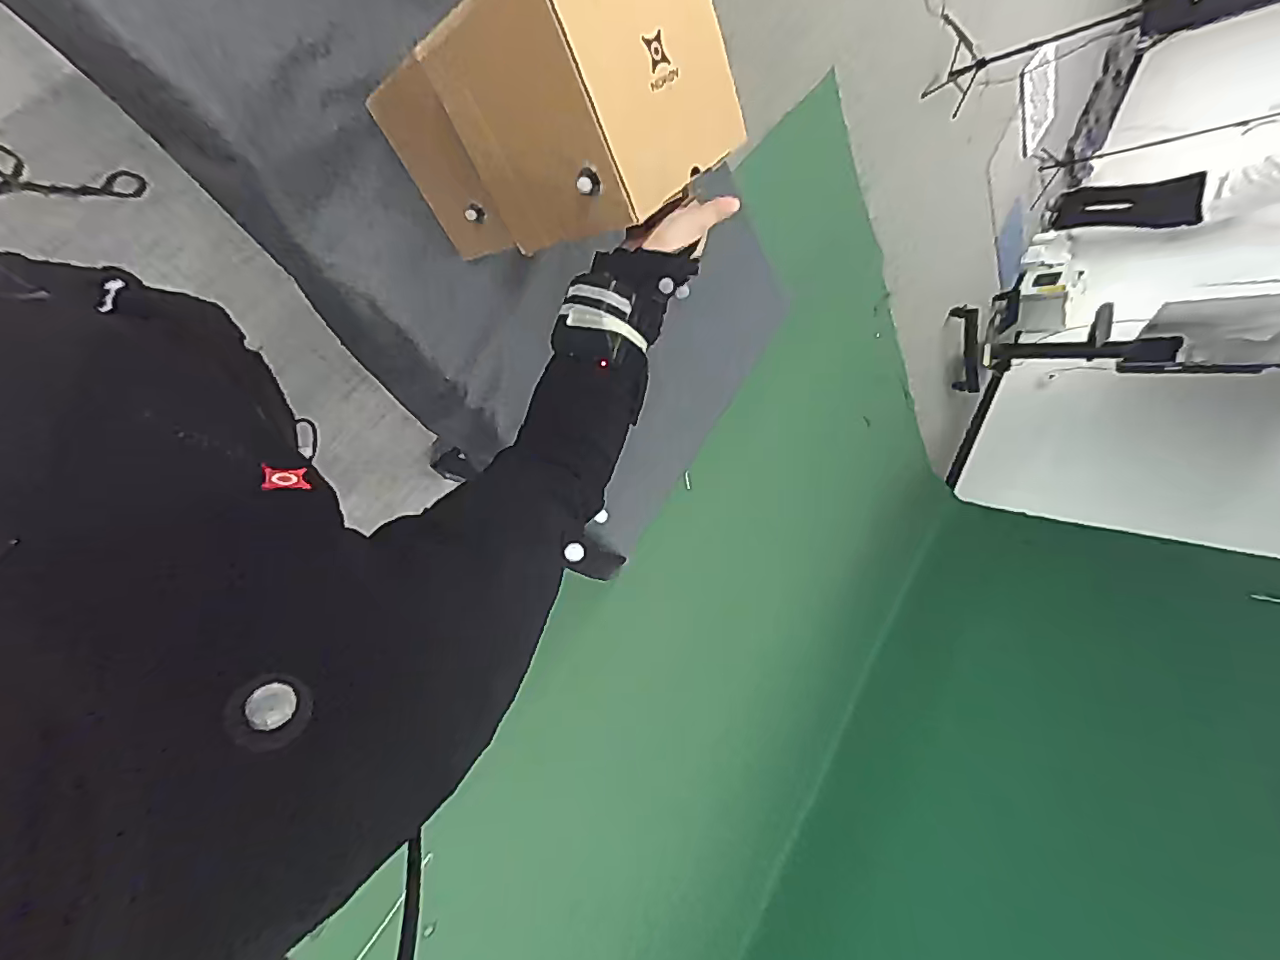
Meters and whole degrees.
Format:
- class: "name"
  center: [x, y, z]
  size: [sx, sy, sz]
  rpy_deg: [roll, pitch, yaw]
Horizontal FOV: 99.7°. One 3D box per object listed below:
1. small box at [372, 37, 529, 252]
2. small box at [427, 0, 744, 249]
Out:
- class: "small box"
  center: [-0.145, -0.366, 0.582]
  size: [0.168, 0.176, 0.179]
  rpy_deg: [-50, 128, -26]
- class: "small box"
  center: [-0.043, -0.323, 0.461]
  size: [0.168, 0.176, 0.179]
  rpy_deg: [-48, 130, -27]
